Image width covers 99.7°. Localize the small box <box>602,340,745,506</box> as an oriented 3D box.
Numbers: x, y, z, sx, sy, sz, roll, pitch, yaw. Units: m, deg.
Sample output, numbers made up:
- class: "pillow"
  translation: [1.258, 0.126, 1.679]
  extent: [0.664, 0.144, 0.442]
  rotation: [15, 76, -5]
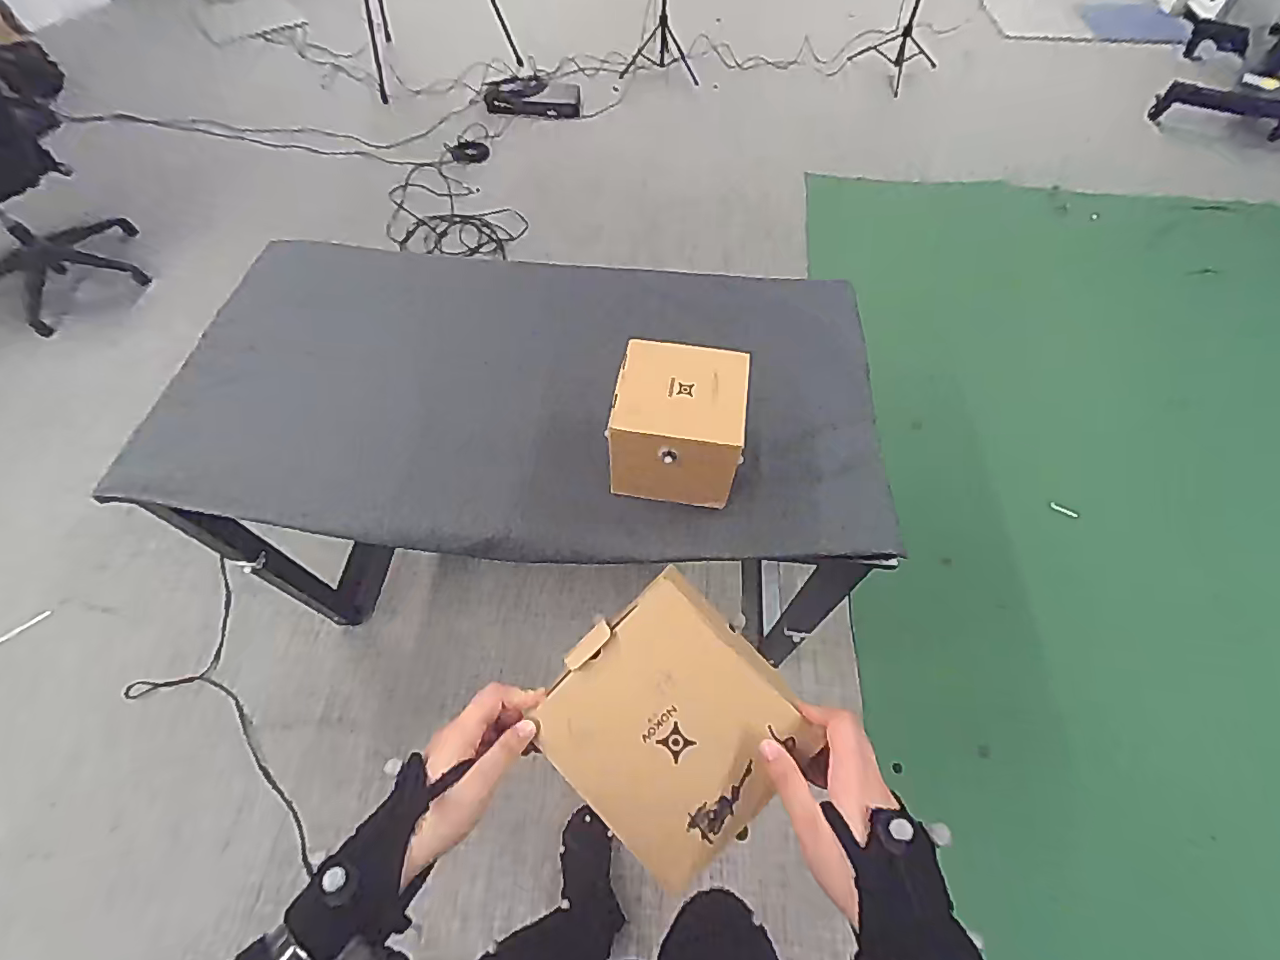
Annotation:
- class: "small box"
  translation: [0.048, -0.078, 0.788]
  extent: [0.179, 0.176, 0.168]
  rotation: [8, 59, 3]
